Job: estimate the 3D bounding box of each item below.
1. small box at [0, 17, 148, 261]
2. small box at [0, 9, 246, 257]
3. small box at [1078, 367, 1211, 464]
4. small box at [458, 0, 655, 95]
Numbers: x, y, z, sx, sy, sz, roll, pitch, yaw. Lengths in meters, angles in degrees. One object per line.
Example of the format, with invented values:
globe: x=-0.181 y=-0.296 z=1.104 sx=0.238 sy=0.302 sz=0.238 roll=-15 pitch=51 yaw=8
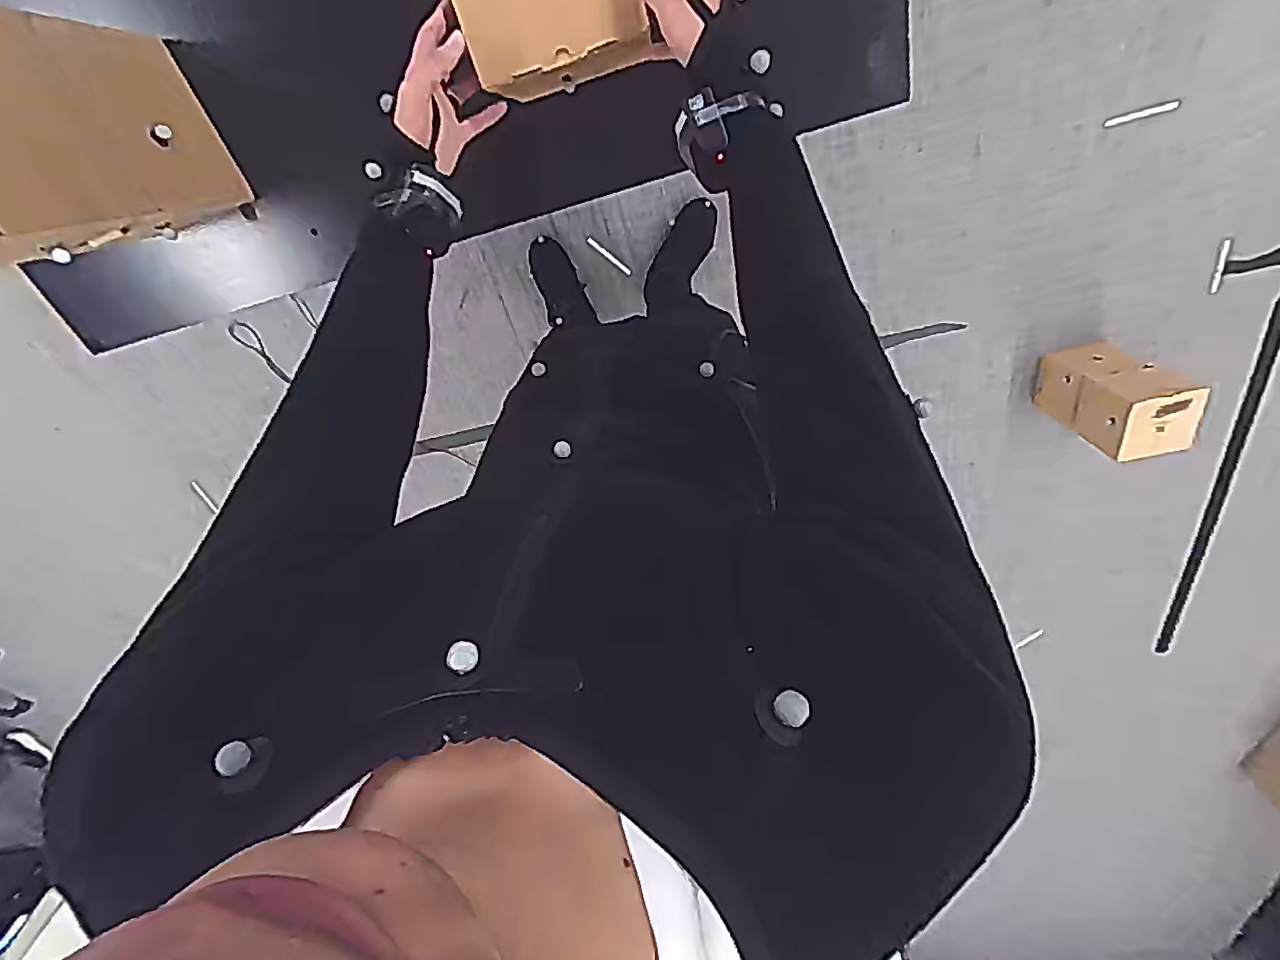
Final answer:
small box: x=-0.606 y=-0.290 z=0.464 sx=0.168 sy=0.176 sz=0.179 roll=-13 pitch=121 yaw=10
small box: x=-0.603 y=-0.377 z=0.604 sx=0.168 sy=0.176 sz=0.179 roll=-14 pitch=122 yaw=10
small box: x=1.252 y=-0.169 z=1.360 sx=0.168 sy=0.176 sz=0.179 roll=-12 pitch=123 yaw=9
small box: x=-0.087 y=-0.498 z=0.516 sx=0.168 sy=0.176 sz=0.179 roll=-13 pitch=122 yaw=9
